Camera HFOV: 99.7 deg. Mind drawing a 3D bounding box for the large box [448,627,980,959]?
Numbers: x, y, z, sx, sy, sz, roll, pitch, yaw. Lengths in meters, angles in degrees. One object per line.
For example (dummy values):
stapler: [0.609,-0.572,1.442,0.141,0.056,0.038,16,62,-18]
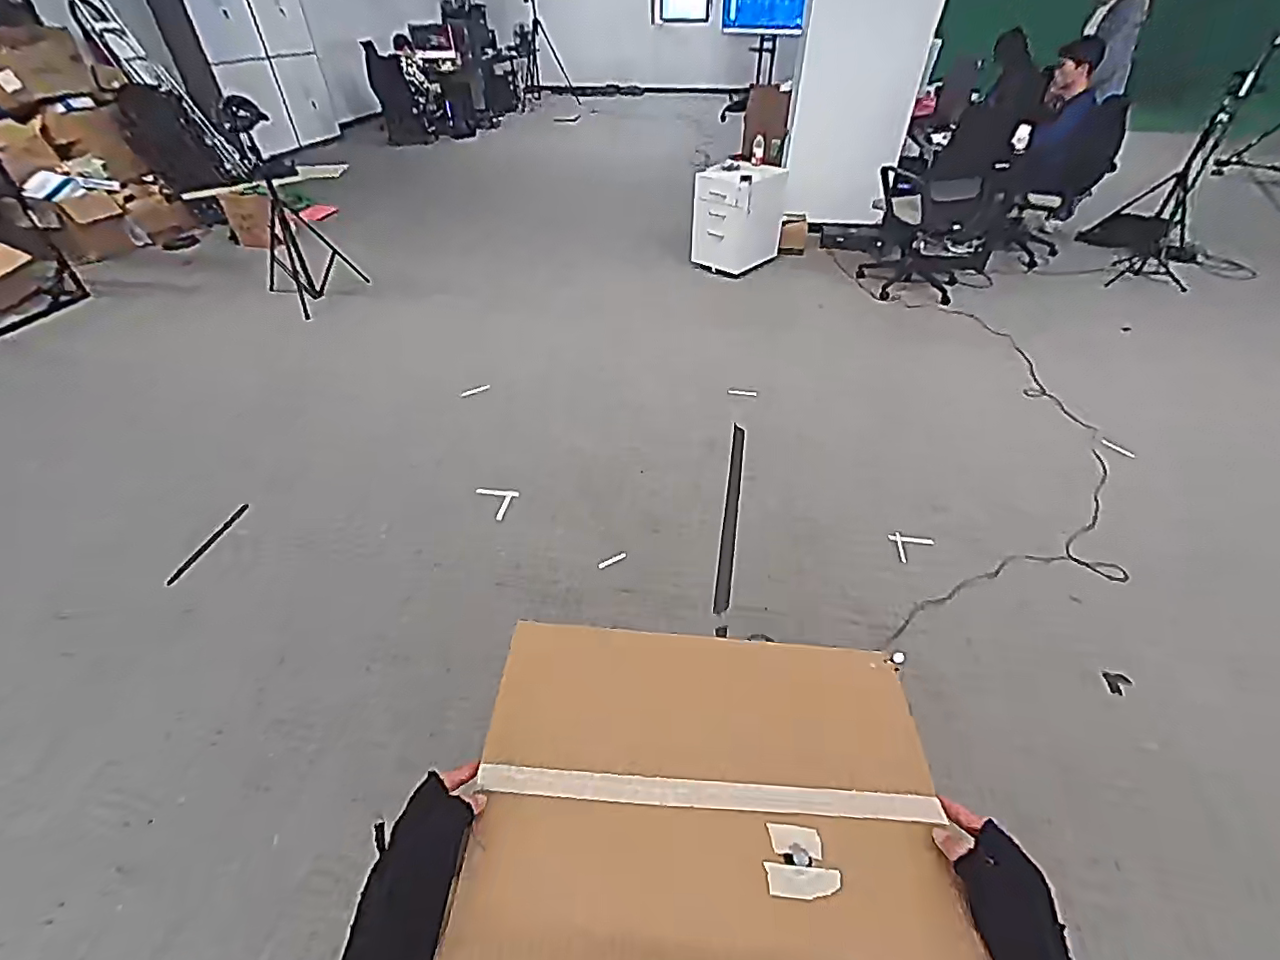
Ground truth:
large box: [0.050,0.387,0.578,0.408,0.320,0.320,5,42,-1]
